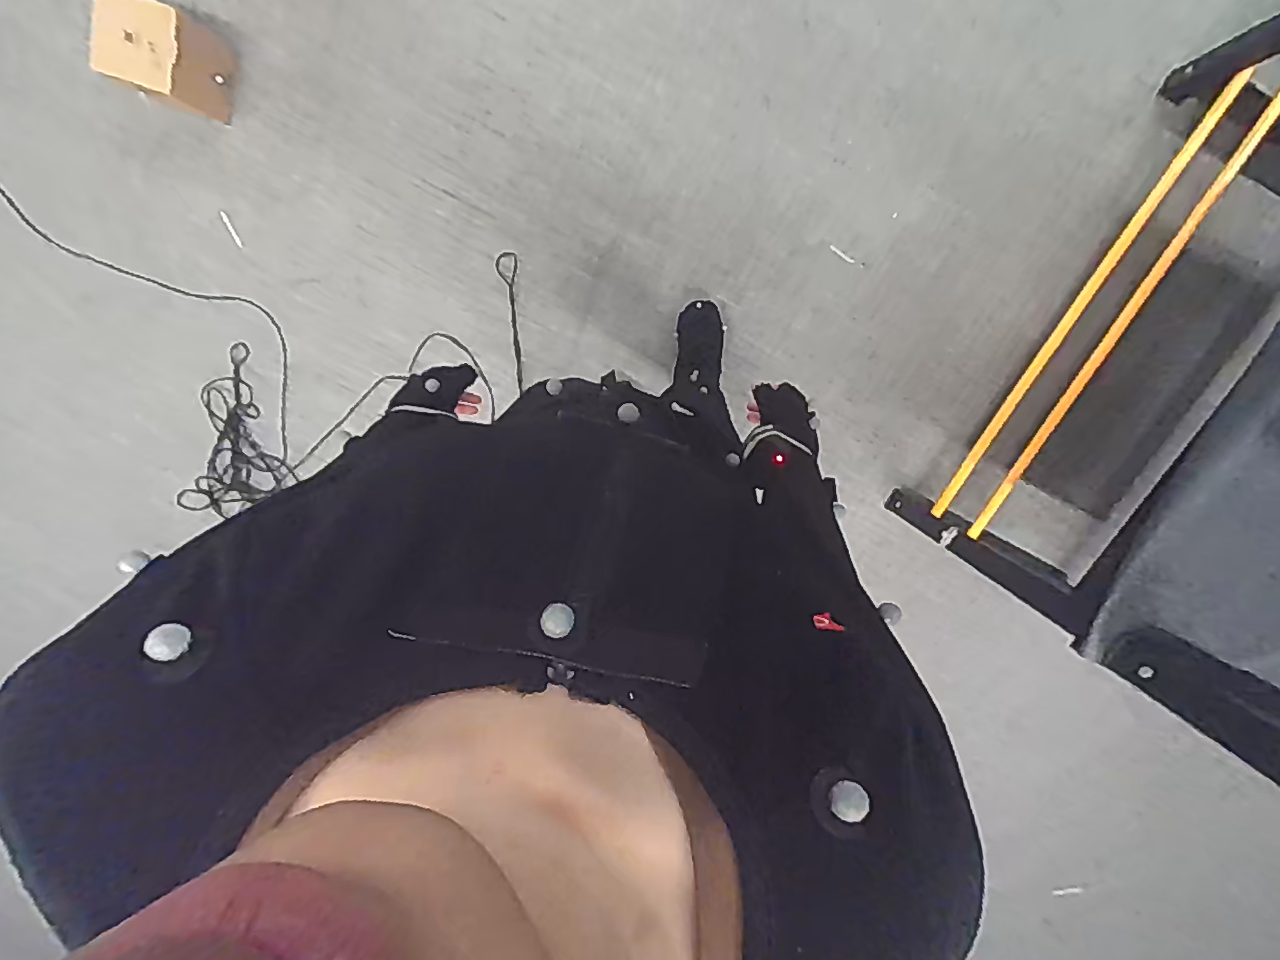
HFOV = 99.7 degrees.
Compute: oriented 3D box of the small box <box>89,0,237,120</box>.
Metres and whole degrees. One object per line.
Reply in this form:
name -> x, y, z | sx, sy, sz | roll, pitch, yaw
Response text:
small box -> -1.050, -0.938, 1.200 | 0.179, 0.176, 0.168 | 17, 104, -3
